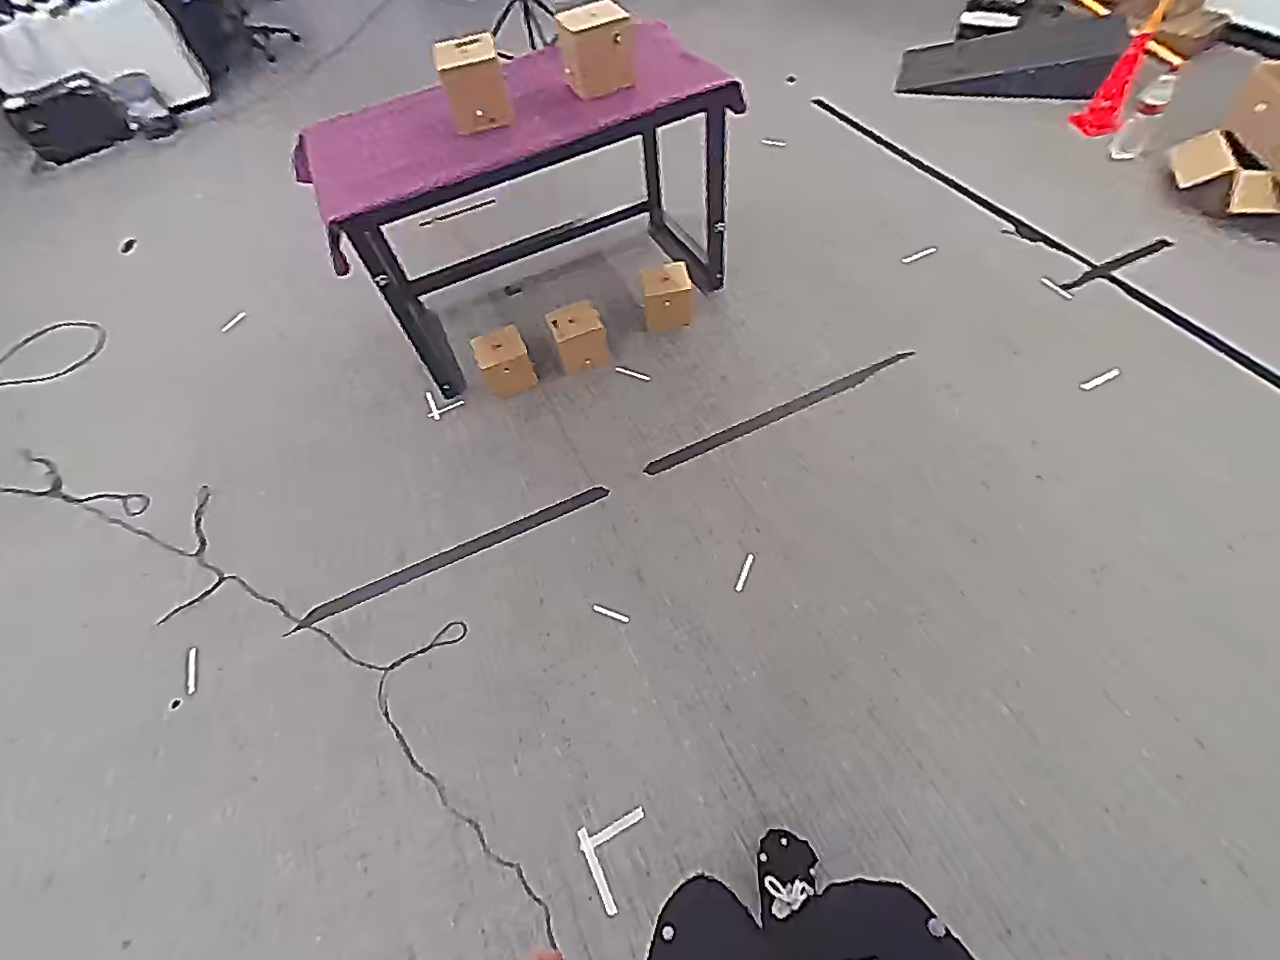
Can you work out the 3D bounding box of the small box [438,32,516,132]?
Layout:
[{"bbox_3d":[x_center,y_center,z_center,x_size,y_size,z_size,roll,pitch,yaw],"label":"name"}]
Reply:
[{"bbox_3d":[-0.463,-1.133,1.544,0.168,0.176,0.179,-15,58,-2],"label":"small box"}]

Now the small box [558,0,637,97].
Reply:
[{"bbox_3d":[-0.118,-1.262,1.578,0.179,0.176,0.168,-23,57,-7],"label":"small box"}]

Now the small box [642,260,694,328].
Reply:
[{"bbox_3d":[0.110,-0.709,2.069,0.179,0.176,0.168,-11,58,2],"label":"small box"}]

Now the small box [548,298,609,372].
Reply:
[{"bbox_3d":[-0.221,-0.534,2.002,0.179,0.176,0.168,-21,58,-6],"label":"small box"}]

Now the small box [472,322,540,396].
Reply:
[{"bbox_3d":[-0.485,-0.437,1.976,0.179,0.176,0.168,-23,59,-8],"label":"small box"}]
